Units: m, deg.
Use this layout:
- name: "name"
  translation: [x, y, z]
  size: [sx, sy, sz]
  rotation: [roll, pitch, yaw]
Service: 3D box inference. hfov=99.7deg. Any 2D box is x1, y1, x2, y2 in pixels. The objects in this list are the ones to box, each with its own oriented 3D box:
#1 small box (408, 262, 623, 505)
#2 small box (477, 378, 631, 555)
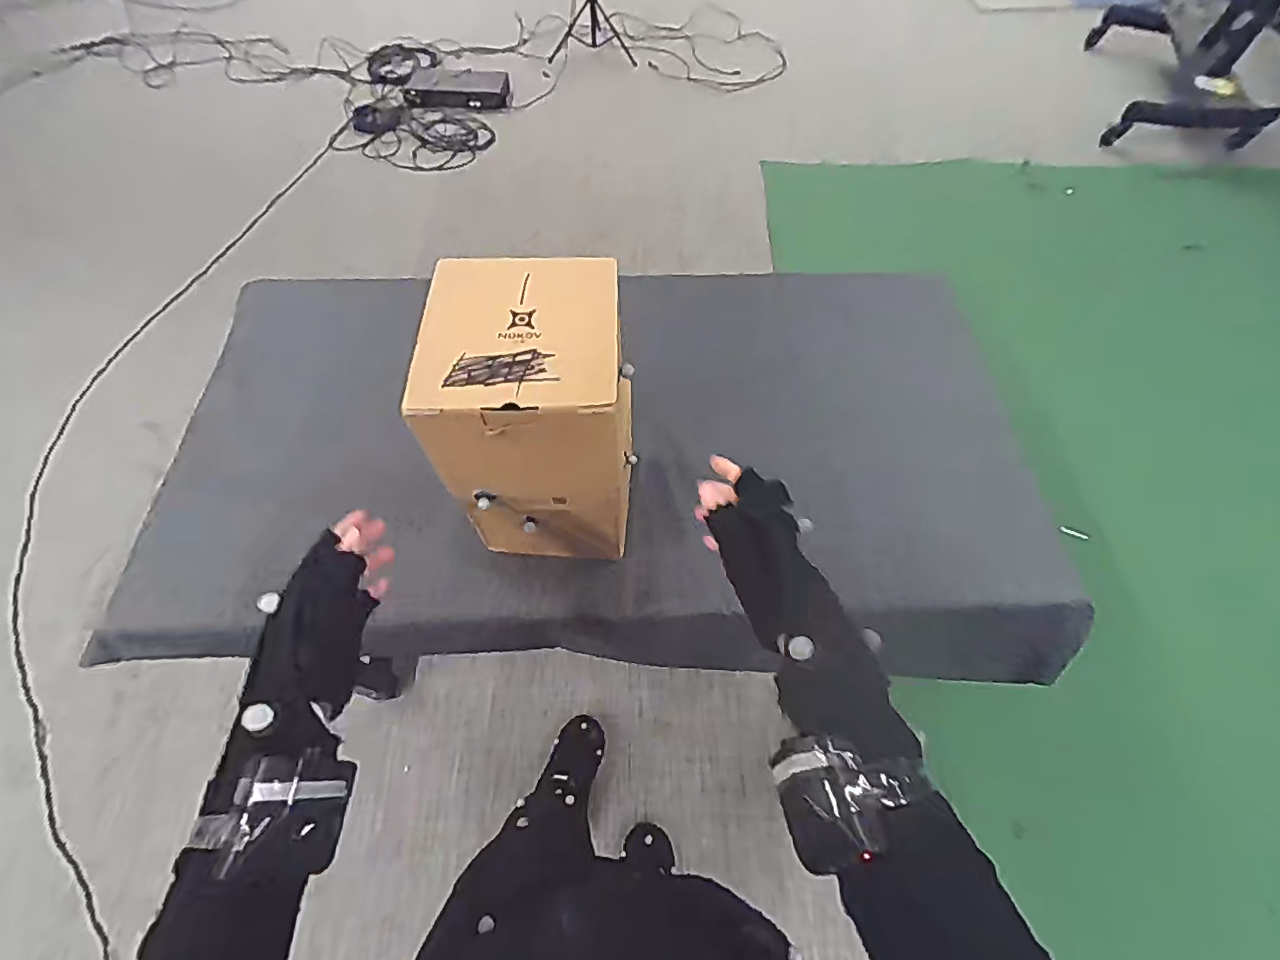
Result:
- name: "small box"
  translation: [-0.105, -0.083, 0.530]
  size: [0.168, 0.176, 0.179]
  rotation: [-4, 61, -2]
- name: "small box"
  translation: [-0.102, -0.012, 0.682]
  size: [0.179, 0.176, 0.168]
  rotation: [1, 58, 0]
